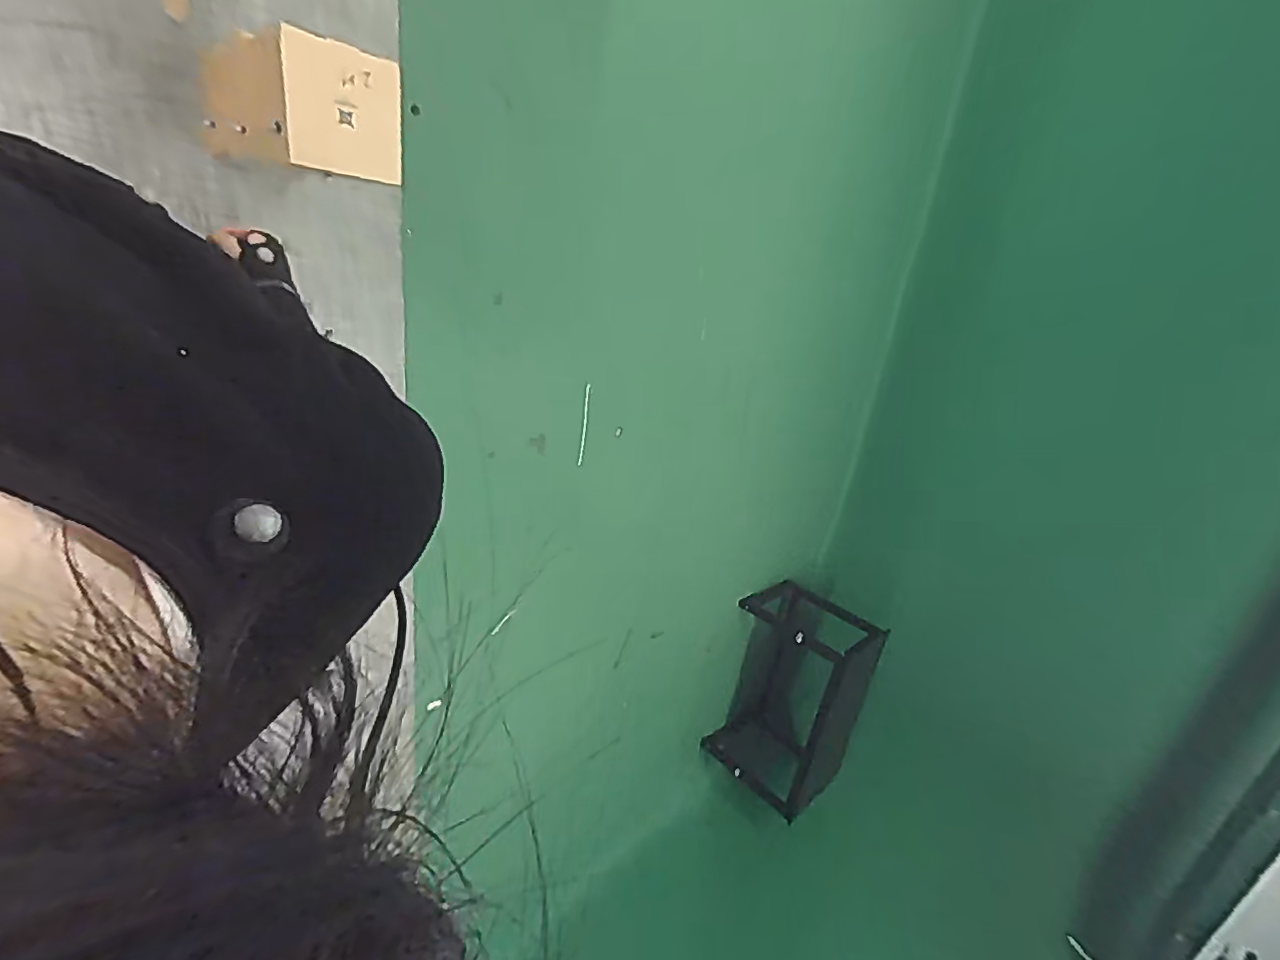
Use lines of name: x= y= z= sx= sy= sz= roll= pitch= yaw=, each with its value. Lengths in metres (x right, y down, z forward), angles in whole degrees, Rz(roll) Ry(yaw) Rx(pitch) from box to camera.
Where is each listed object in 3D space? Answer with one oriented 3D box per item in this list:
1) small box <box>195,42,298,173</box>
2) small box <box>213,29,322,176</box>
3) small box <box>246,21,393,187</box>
small box: x=-0.753 y=-0.715 z=1.064 sx=0.179 sy=0.176 sz=0.168 roll=-10 pitch=118 yaw=-45
small box: x=-0.637 y=-0.657 z=0.966 sx=0.168 sy=0.176 sz=0.179 roll=-13 pitch=121 yaw=-43
small box: x=-0.516 y=-0.592 z=0.875 sx=0.168 sy=0.176 sz=0.179 roll=-13 pitch=120 yaw=-44
